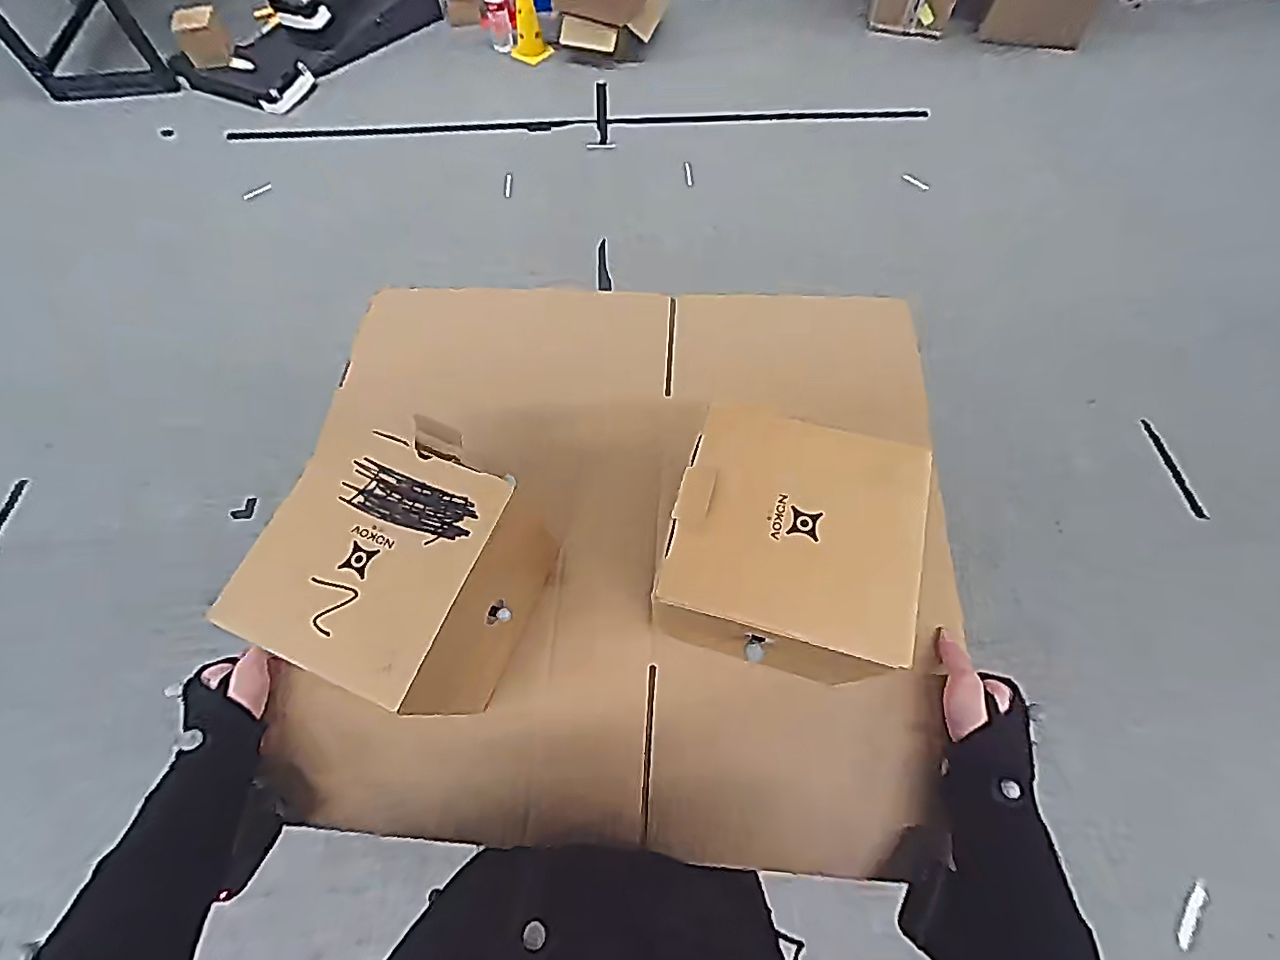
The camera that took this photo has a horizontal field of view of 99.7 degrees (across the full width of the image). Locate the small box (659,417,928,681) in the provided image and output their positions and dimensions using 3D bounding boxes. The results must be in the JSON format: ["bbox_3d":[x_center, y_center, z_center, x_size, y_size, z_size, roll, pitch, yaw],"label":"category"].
[{"bbox_3d":[0.123,0.071,0.478,0.179,0.176,0.168,13,67,10],"label":"small box"}]
